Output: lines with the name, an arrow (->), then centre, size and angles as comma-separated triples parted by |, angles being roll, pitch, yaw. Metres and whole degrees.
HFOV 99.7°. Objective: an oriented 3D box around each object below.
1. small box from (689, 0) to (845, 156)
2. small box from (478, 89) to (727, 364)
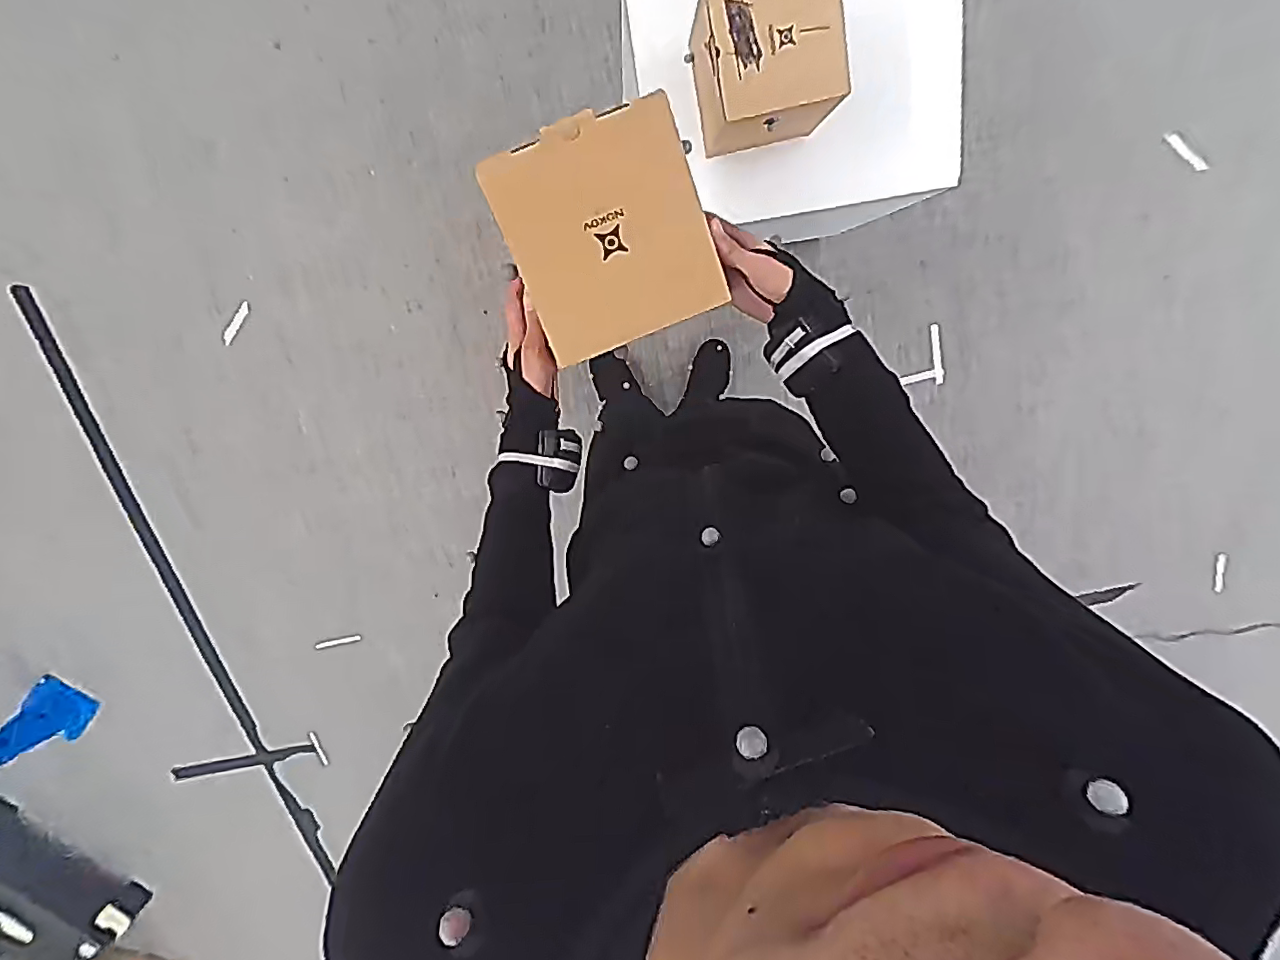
small box -> 0.172, -0.596, 0.784 | 0.179, 0.176, 0.168 | -13, 107, 1
small box -> -0.033, -0.230, 0.533 | 0.168, 0.176, 0.179 | -22, 106, 0
